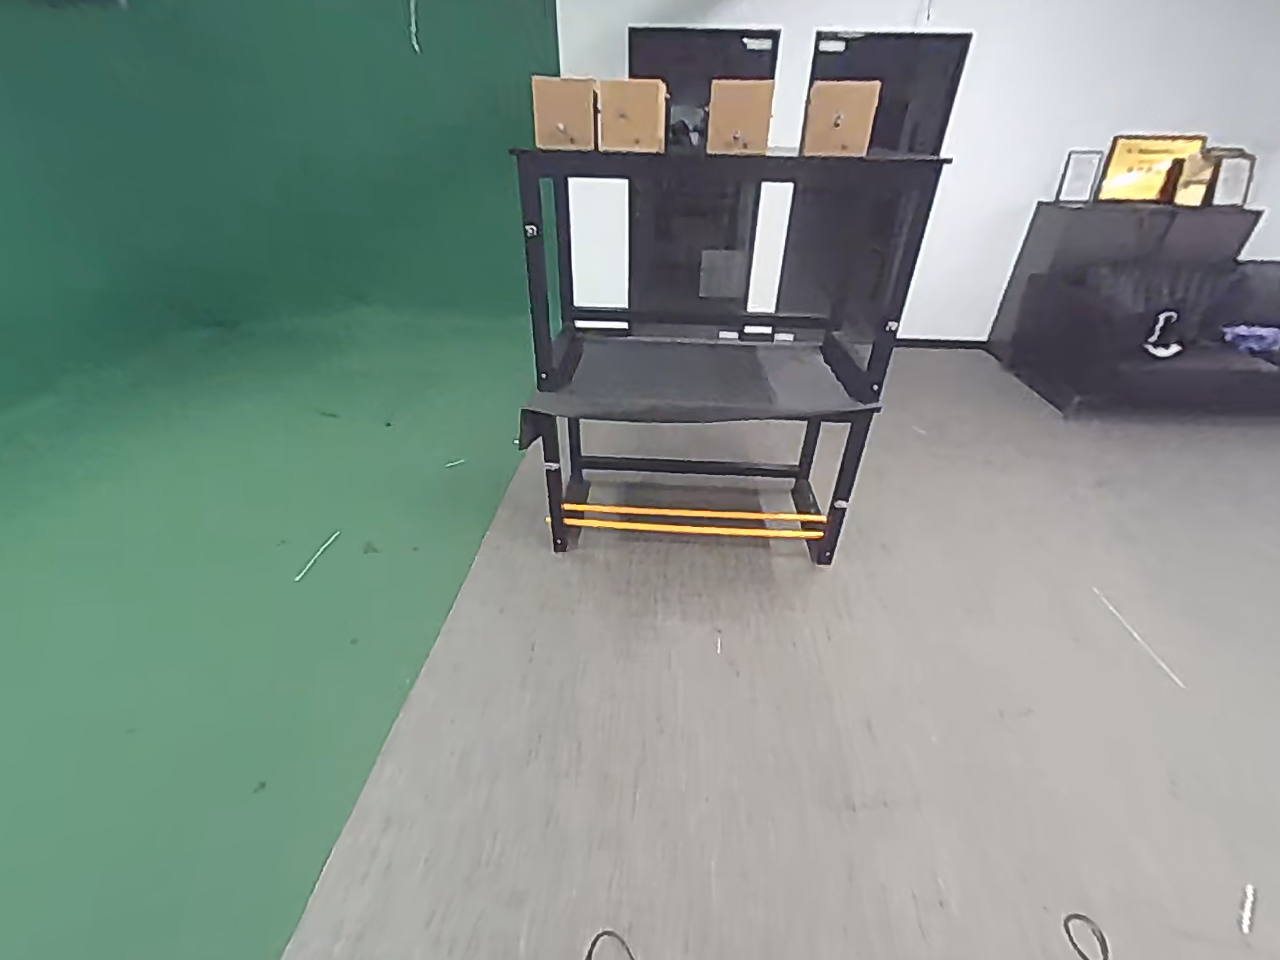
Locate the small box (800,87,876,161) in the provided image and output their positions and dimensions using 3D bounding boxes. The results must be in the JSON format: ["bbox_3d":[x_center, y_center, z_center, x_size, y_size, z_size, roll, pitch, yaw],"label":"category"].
[{"bbox_3d":[0.552,-1.000,1.525,0.168,0.176,0.179,8,33,9],"label":"small box"}]

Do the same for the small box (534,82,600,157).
[{"bbox_3d":[-0.208,-1.051,1.581,0.168,0.176,0.179,2,34,1],"label":"small box"}]
